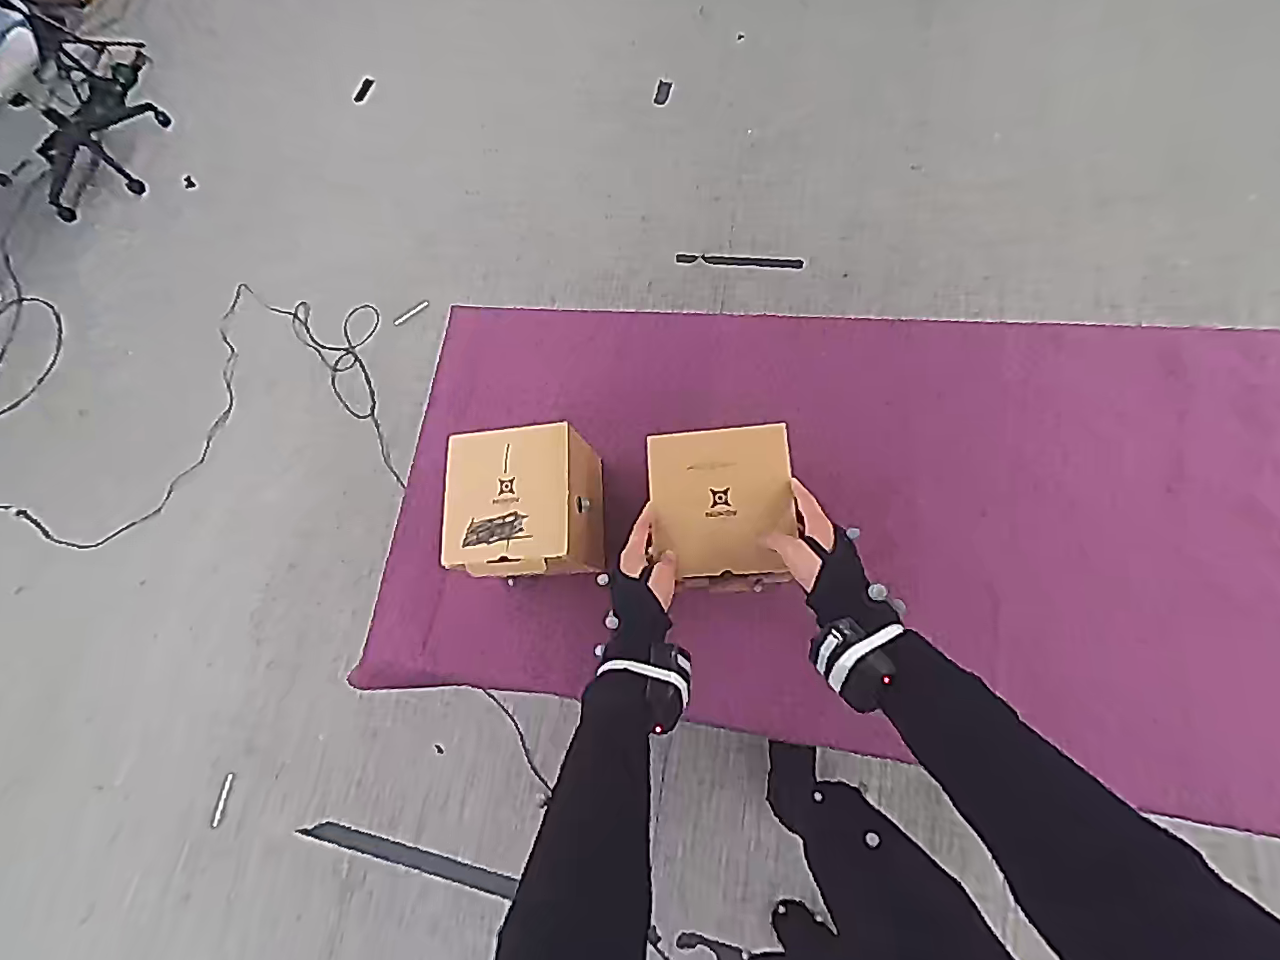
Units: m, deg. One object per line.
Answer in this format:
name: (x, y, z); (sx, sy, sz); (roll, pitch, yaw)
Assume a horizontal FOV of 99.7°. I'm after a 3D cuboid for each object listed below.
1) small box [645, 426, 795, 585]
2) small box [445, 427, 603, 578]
small box: (0.103, 0.044, 0.703); (0.168, 0.176, 0.179); (-5, 75, 8)
small box: (-0.151, 0.043, 0.756); (0.168, 0.176, 0.179); (-6, 73, 9)
